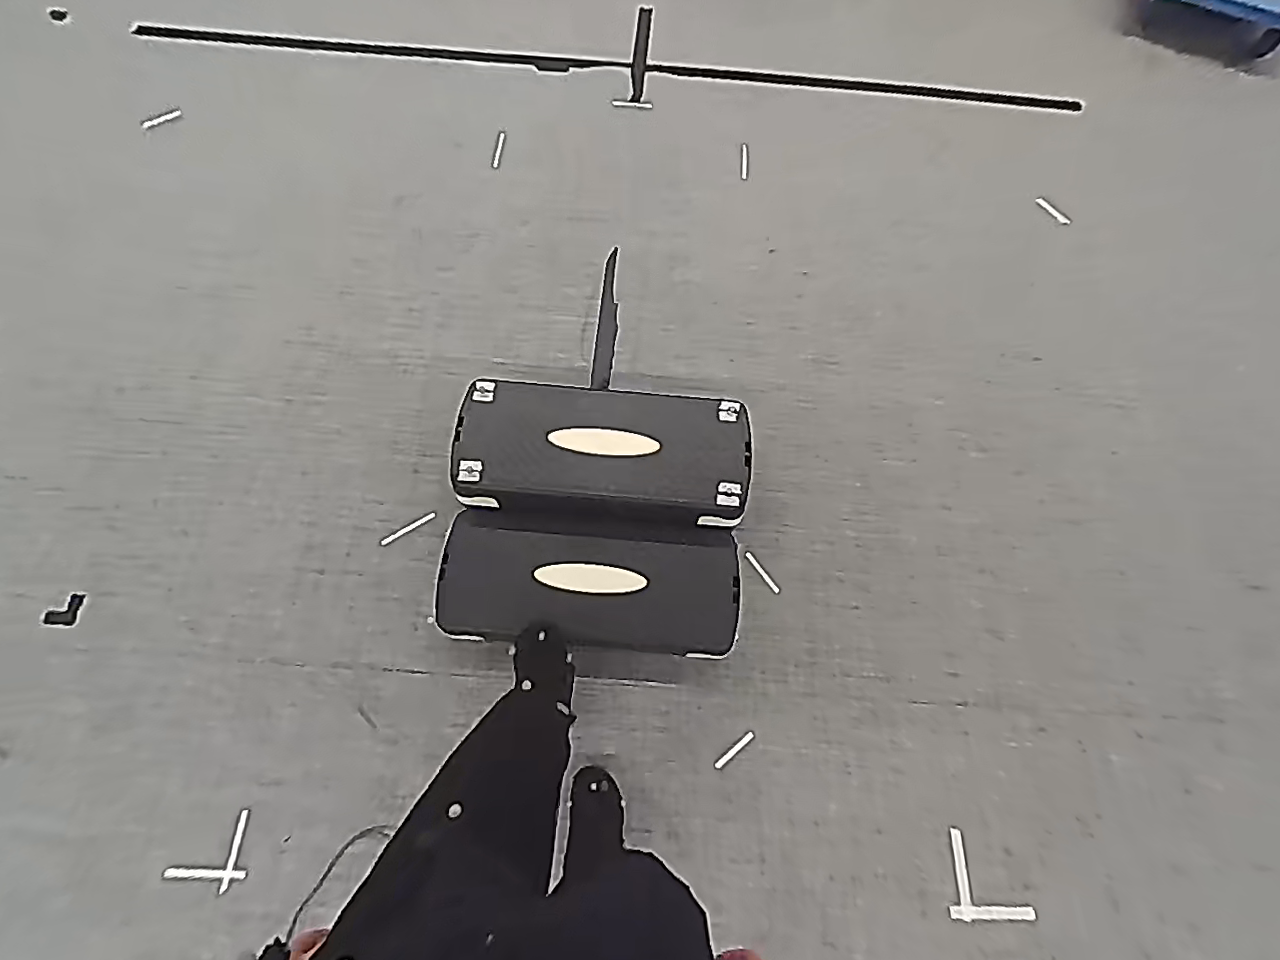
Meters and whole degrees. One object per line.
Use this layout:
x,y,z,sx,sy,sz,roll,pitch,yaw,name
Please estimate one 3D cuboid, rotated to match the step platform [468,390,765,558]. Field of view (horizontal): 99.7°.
-0.051,-0.013,1.293,0.684,0.204,0.286,9,68,0,step platform
